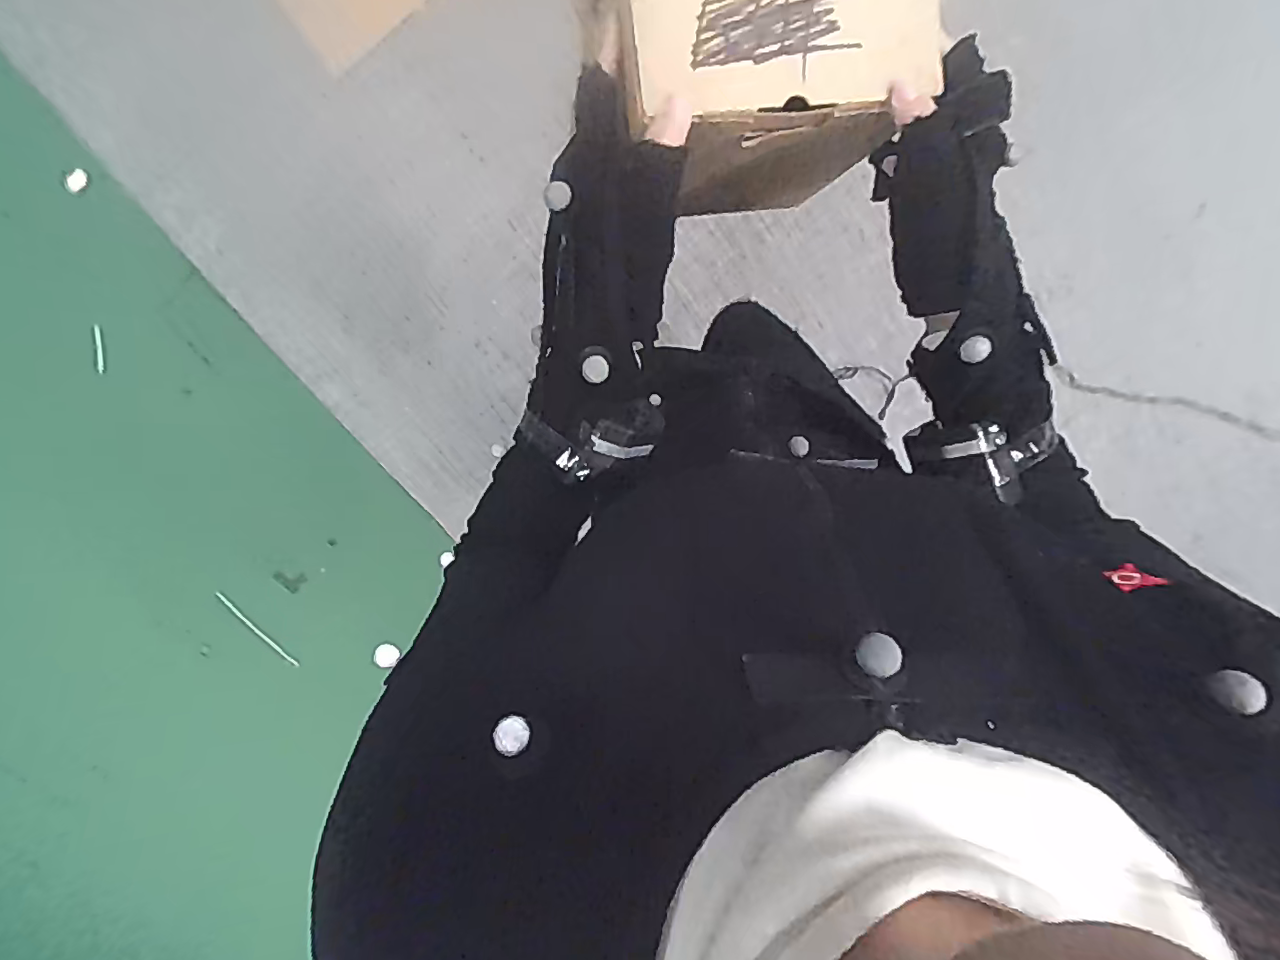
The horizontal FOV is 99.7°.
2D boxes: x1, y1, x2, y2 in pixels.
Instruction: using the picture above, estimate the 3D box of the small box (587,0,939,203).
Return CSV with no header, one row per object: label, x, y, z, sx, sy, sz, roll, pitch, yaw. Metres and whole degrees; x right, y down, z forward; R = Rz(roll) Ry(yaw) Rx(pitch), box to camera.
small box,0.059,-0.293,0.343,0.168,0.176,0.179,-8,99,-8
